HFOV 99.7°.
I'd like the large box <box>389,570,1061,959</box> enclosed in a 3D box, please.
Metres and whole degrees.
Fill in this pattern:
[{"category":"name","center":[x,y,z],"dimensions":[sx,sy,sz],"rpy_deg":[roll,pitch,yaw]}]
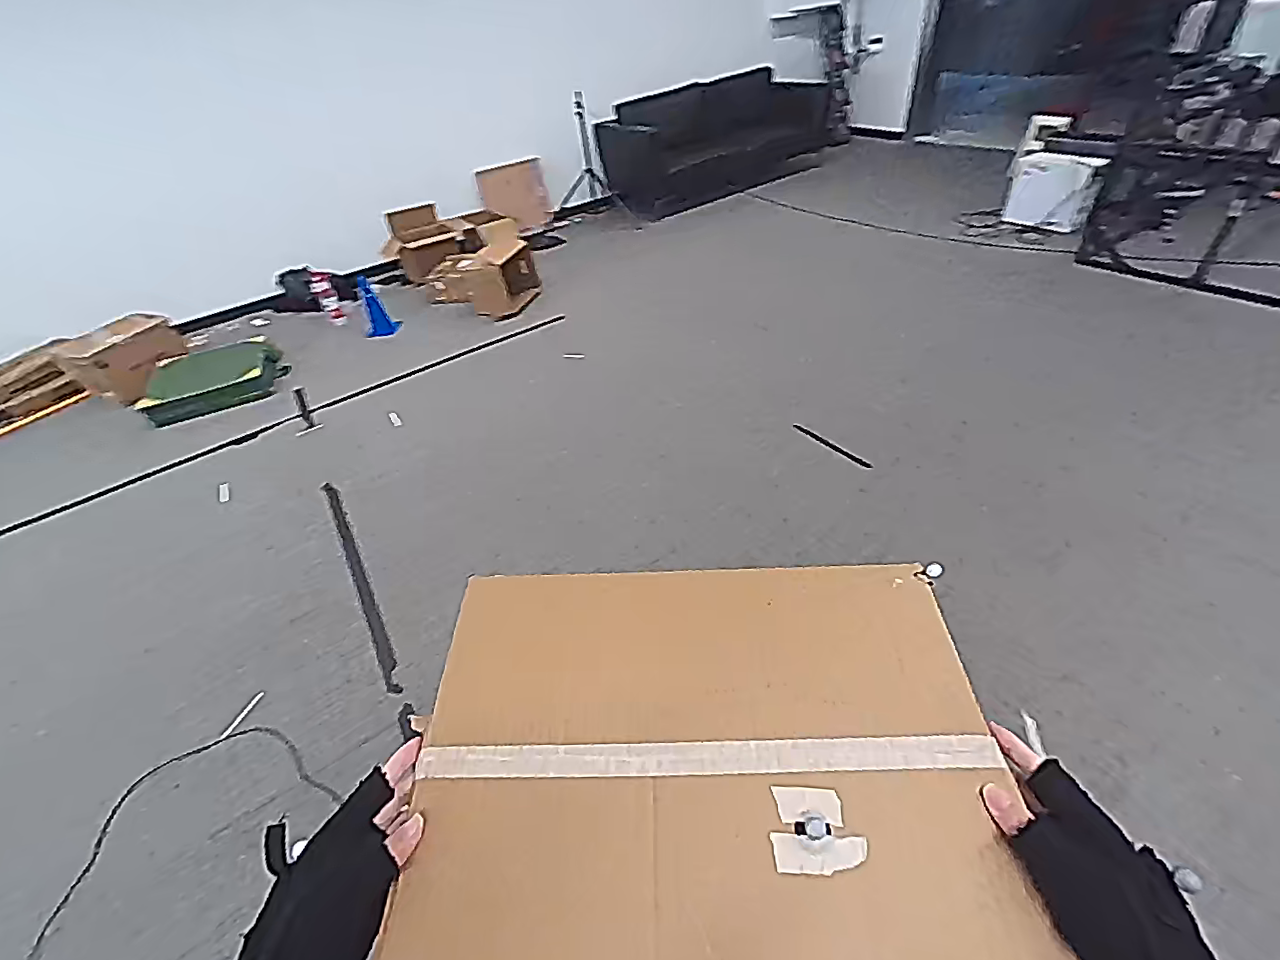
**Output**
[{"category":"large box","center":[0.049,0.305,0.504],"dimensions":[0.408,0.320,0.320],"rpy_deg":[-2,48,2]}]
